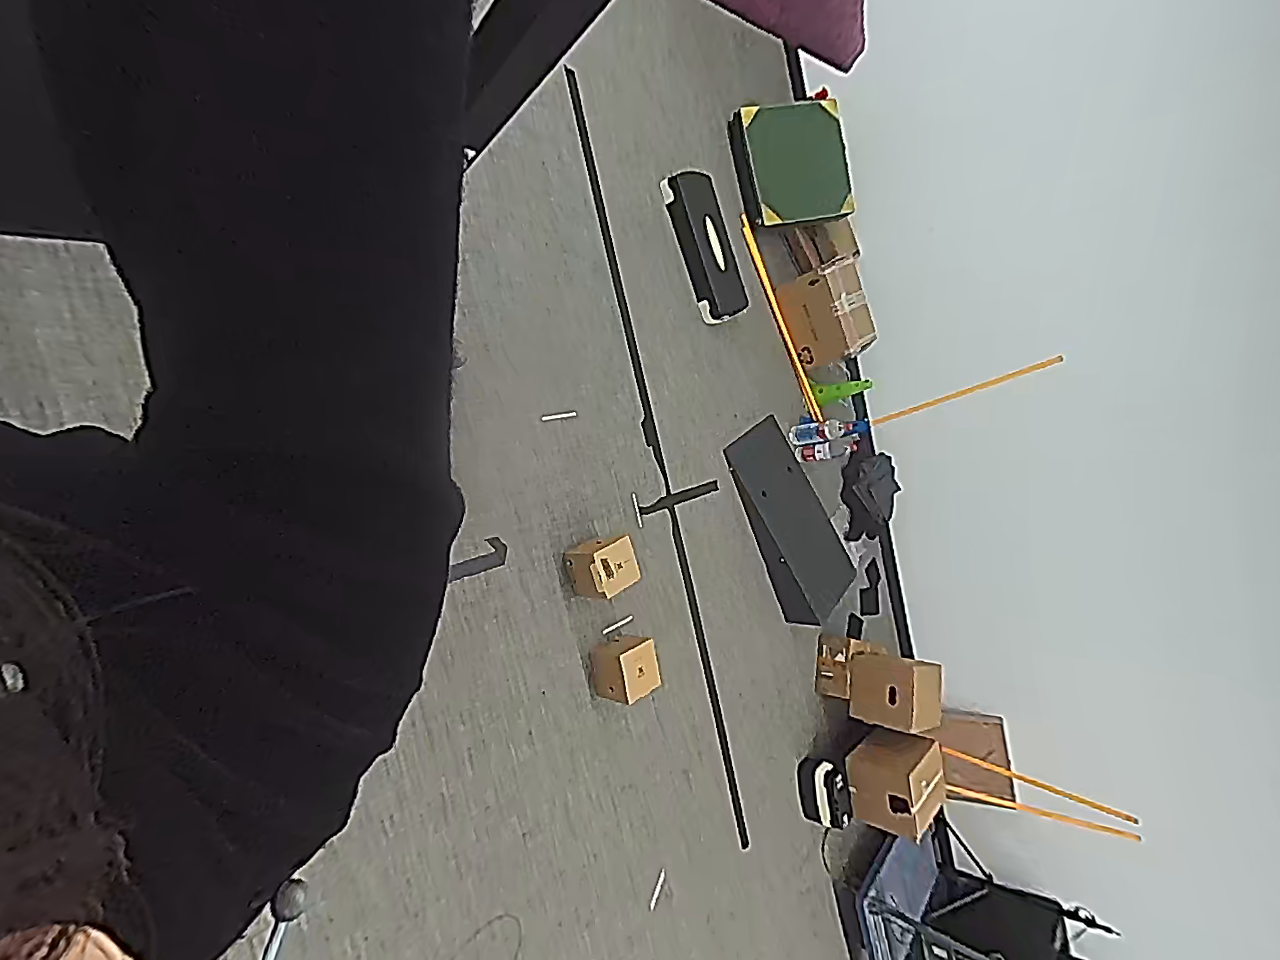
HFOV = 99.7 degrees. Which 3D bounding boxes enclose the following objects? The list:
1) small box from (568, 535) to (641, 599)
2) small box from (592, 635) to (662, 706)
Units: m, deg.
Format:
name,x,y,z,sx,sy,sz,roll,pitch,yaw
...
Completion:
name,x,y,z,sx,sy,sz,roll,pitch,yaw
small box,-0.130,0.300,1.878,0.179,0.176,0.168,-24,102,-43
small box,-0.049,0.665,1.911,0.168,0.176,0.179,-13,93,-44
